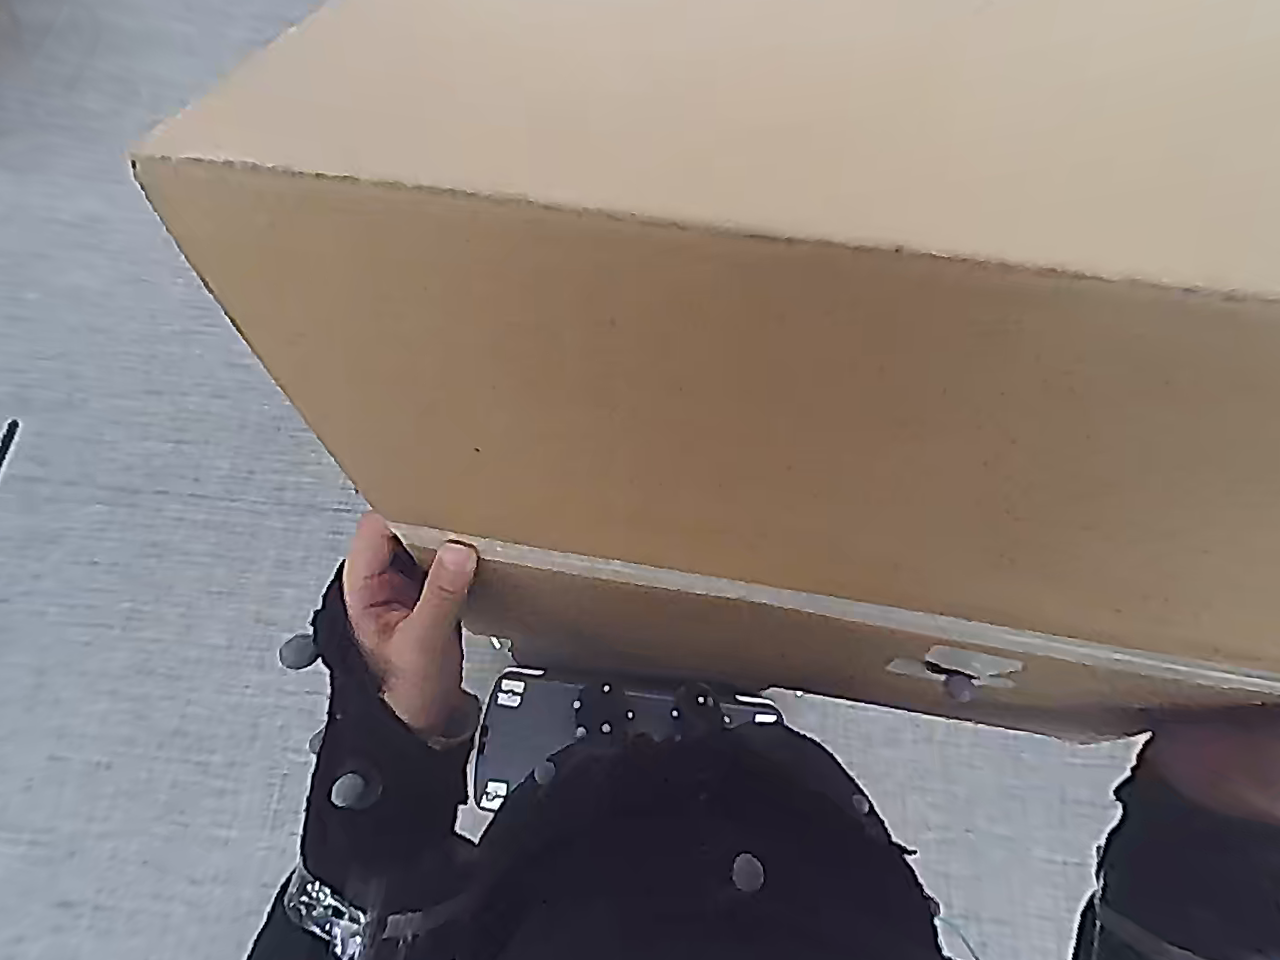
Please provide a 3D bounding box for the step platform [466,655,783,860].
[{"bbox_3d":[-0.030,0.609,1.223,0.684,0.204,0.286,12,74,3],"label":"step platform"}]
